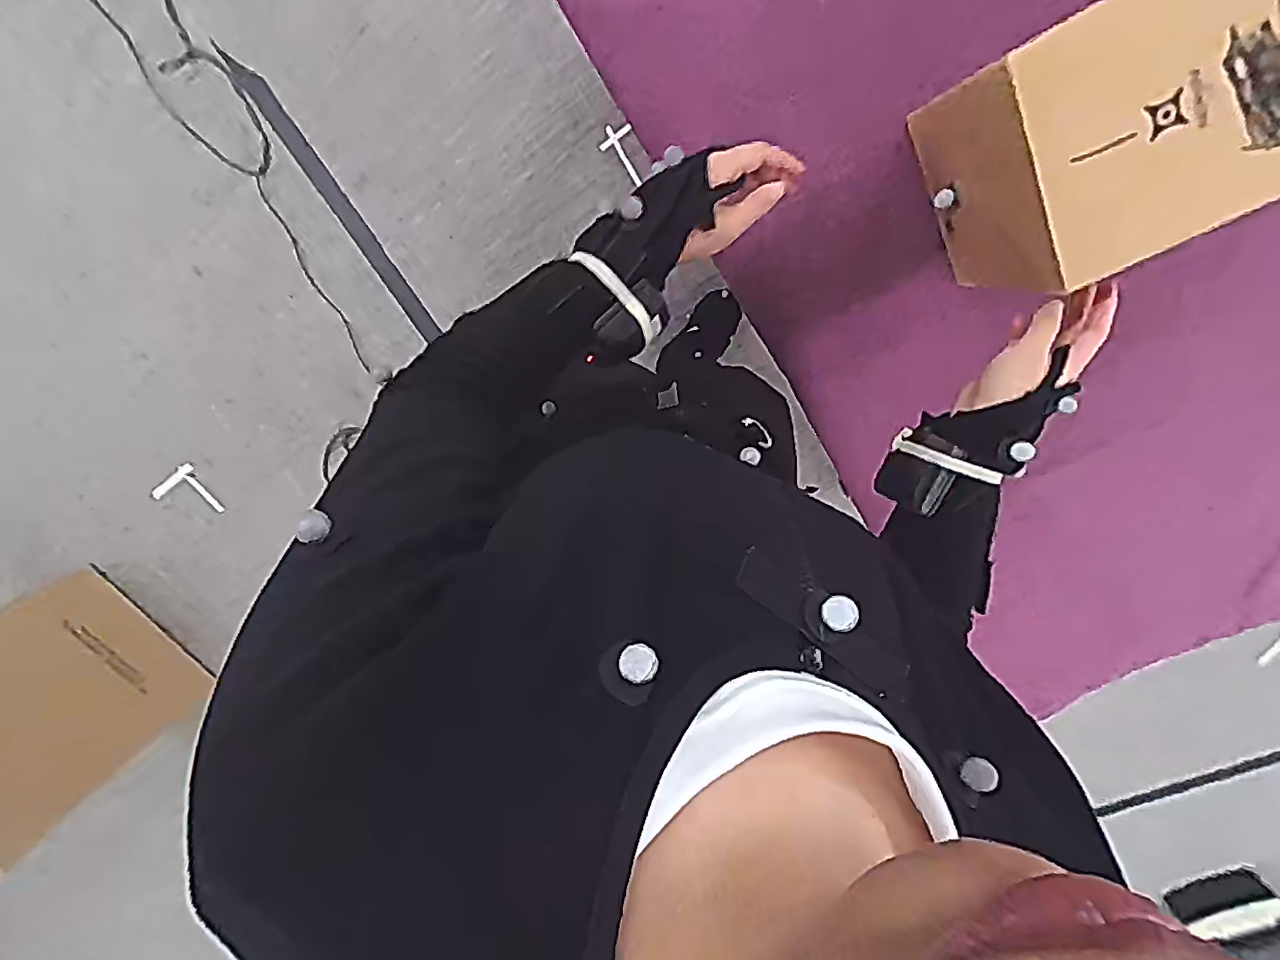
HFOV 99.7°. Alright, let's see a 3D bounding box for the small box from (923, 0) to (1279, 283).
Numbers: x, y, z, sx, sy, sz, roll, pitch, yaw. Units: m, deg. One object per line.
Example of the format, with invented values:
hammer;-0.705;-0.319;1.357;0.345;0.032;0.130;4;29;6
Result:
small box;0.358;-0.272;0.416;0.179;0.176;0.168;-25;107;14
